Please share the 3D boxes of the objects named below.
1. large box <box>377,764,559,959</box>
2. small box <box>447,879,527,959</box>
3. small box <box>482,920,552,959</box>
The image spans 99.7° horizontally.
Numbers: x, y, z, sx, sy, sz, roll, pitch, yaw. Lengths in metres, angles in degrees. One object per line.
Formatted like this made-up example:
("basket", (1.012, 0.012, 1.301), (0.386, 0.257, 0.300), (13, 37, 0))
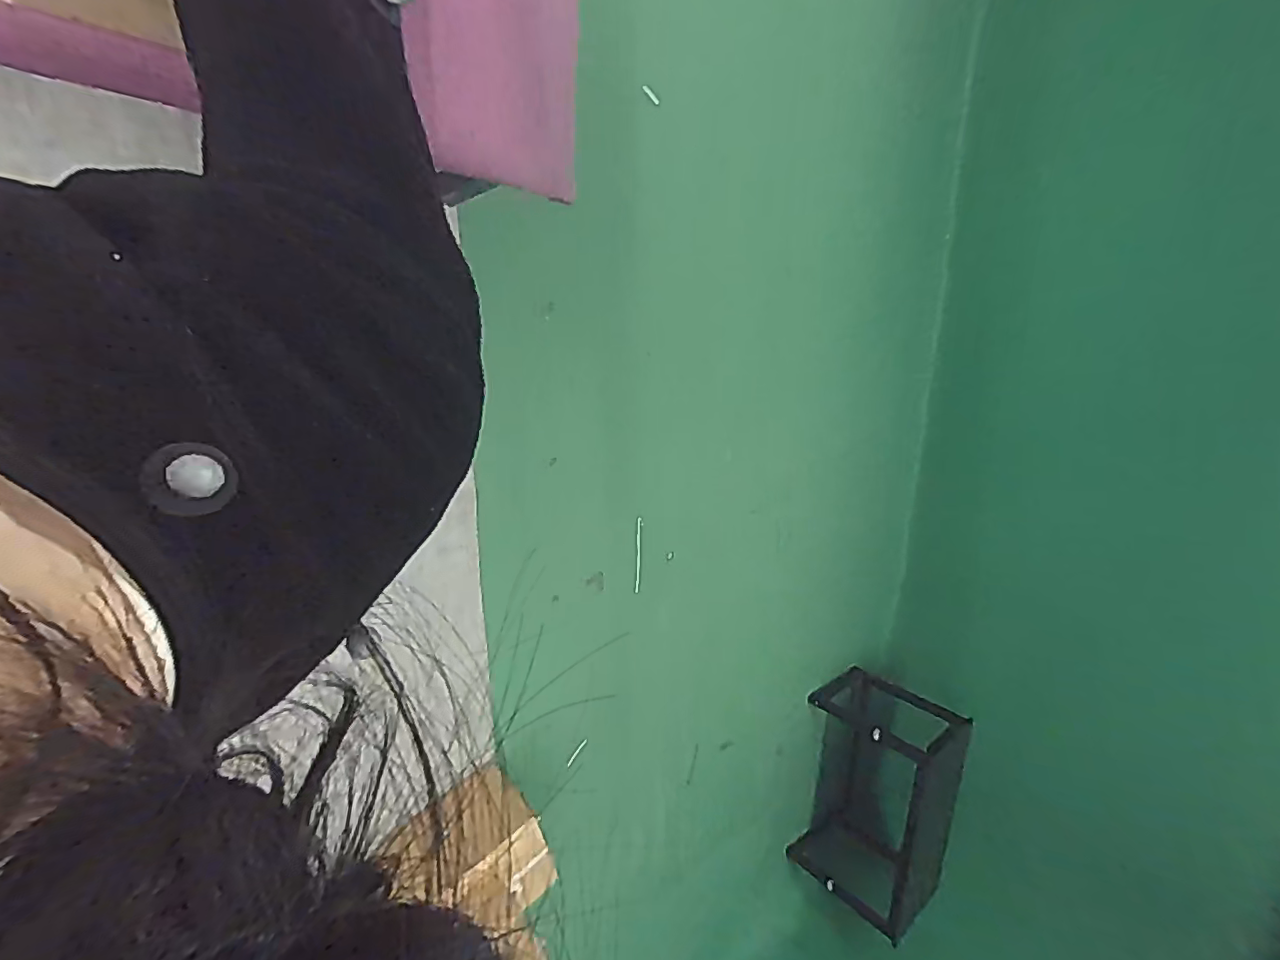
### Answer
("large box", (-0.536, 1.213, 1.708), (0.408, 0.320, 0.320), (-28, 119, -35))
("small box", (-0.410, 1.262, 1.499), (0.168, 0.176, 0.179), (-27, 117, -34))
("small box", (-0.306, 1.296, 1.378), (0.179, 0.176, 0.168), (-28, 118, -34))
